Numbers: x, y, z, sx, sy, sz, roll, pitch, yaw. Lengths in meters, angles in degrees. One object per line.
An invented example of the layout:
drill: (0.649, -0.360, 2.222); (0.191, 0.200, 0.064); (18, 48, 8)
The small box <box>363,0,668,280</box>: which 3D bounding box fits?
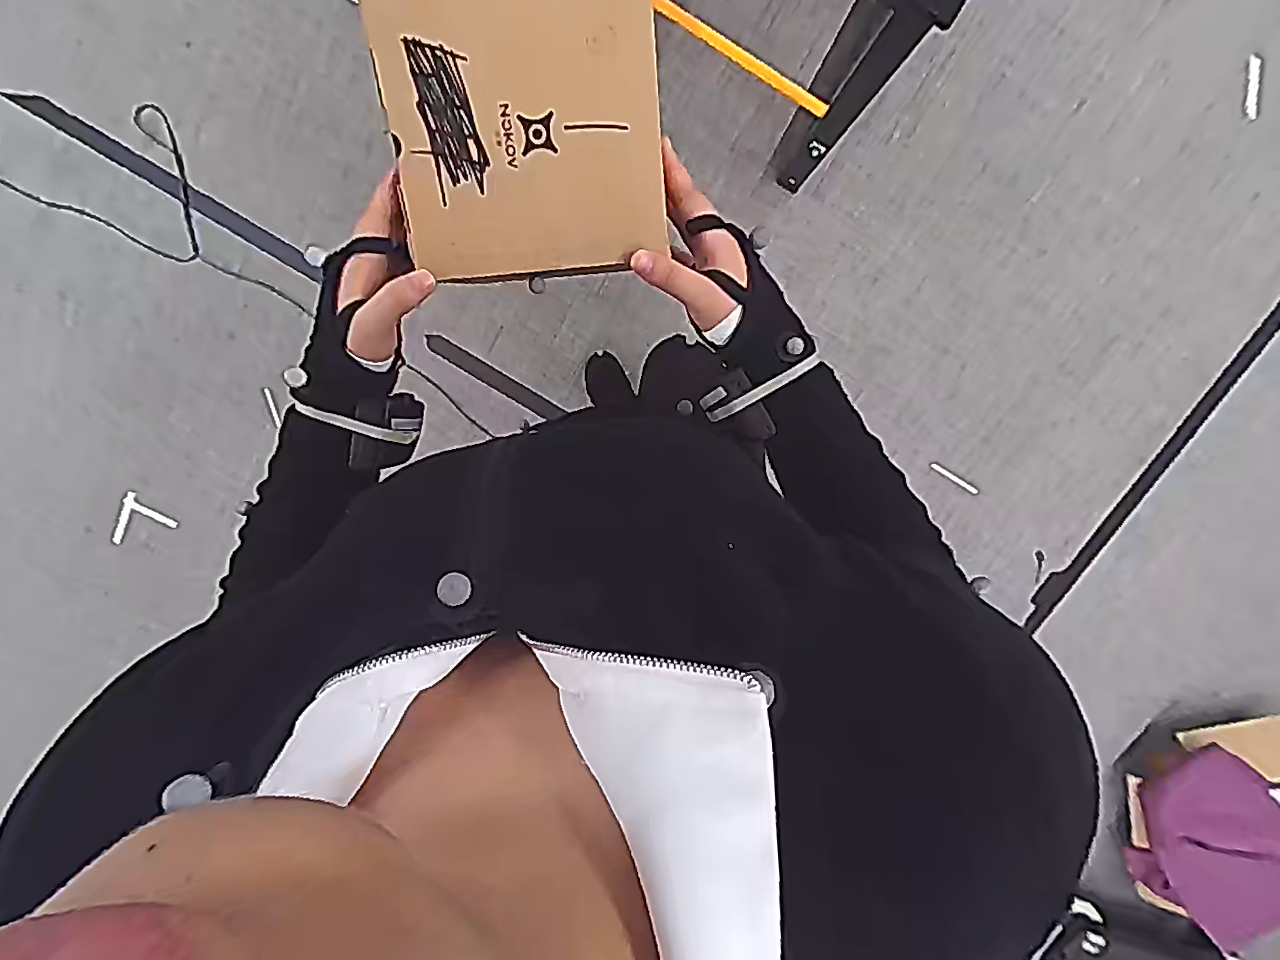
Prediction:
small box: (-0.073, -0.248, 0.417); (0.179, 0.176, 0.168); (-5, 110, 0)
